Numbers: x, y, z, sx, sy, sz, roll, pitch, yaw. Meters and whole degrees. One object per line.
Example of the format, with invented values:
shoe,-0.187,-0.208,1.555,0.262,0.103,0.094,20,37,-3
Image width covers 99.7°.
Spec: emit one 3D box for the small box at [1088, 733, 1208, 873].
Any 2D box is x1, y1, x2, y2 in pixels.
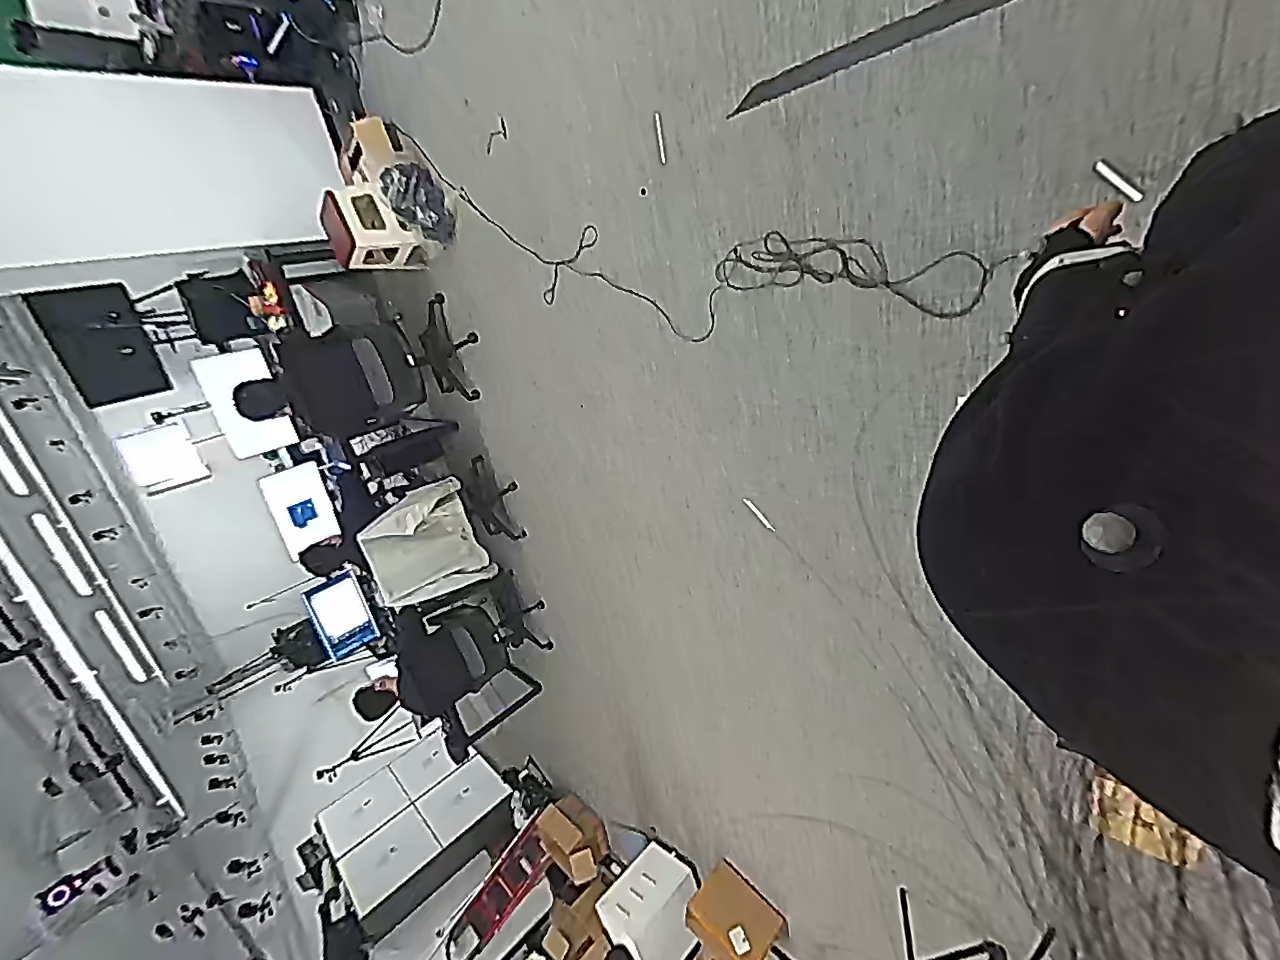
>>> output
small box,1.126,0.701,1.199,0.179,0.176,0.168,8,117,46
